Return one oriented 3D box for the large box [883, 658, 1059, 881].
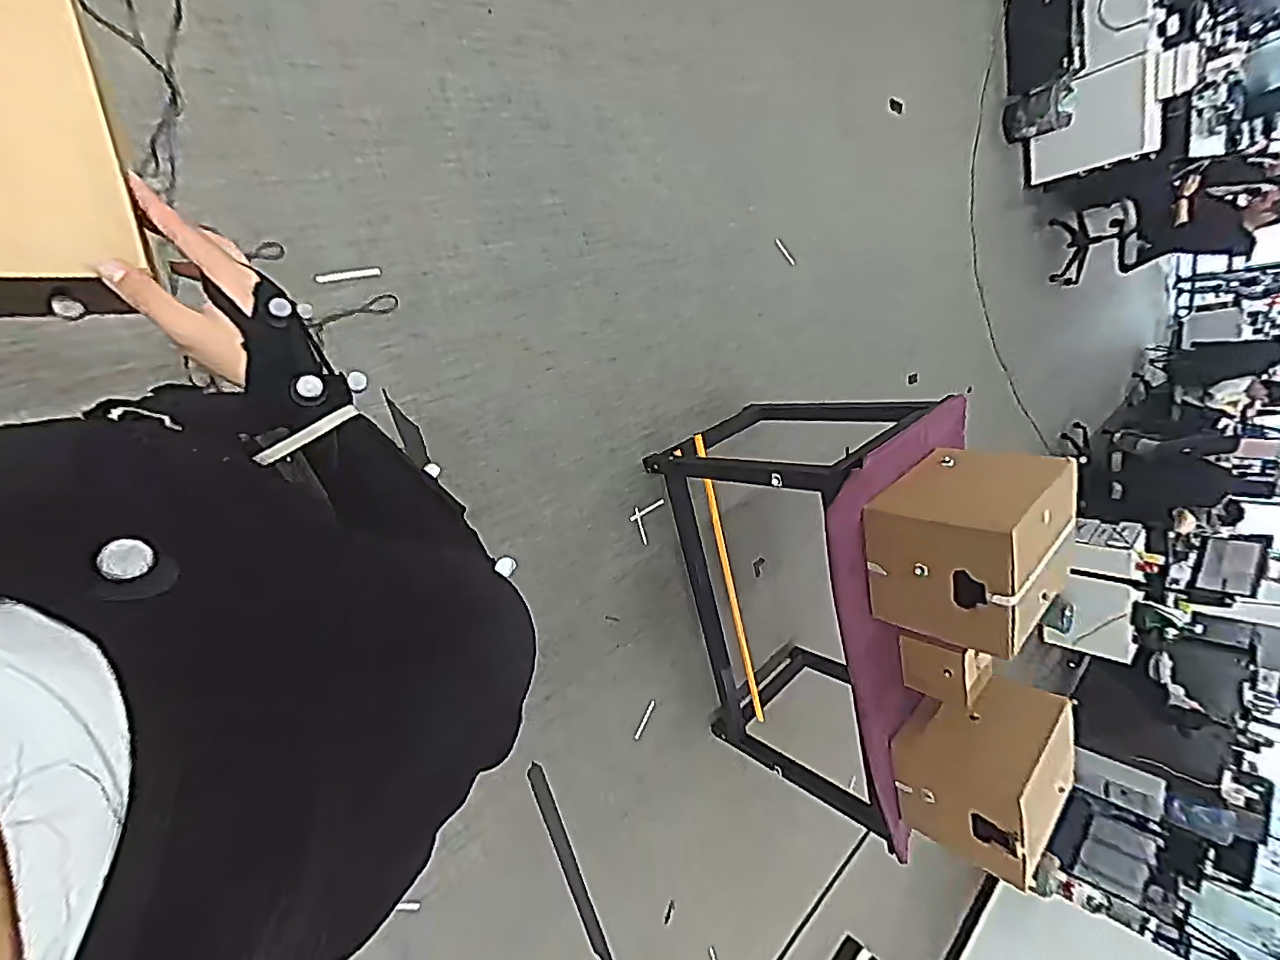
[{"bbox_3d":[0.941,0.783,1.533,0.408,0.320,0.320,-28,113,-35],"label":"large box"}]
